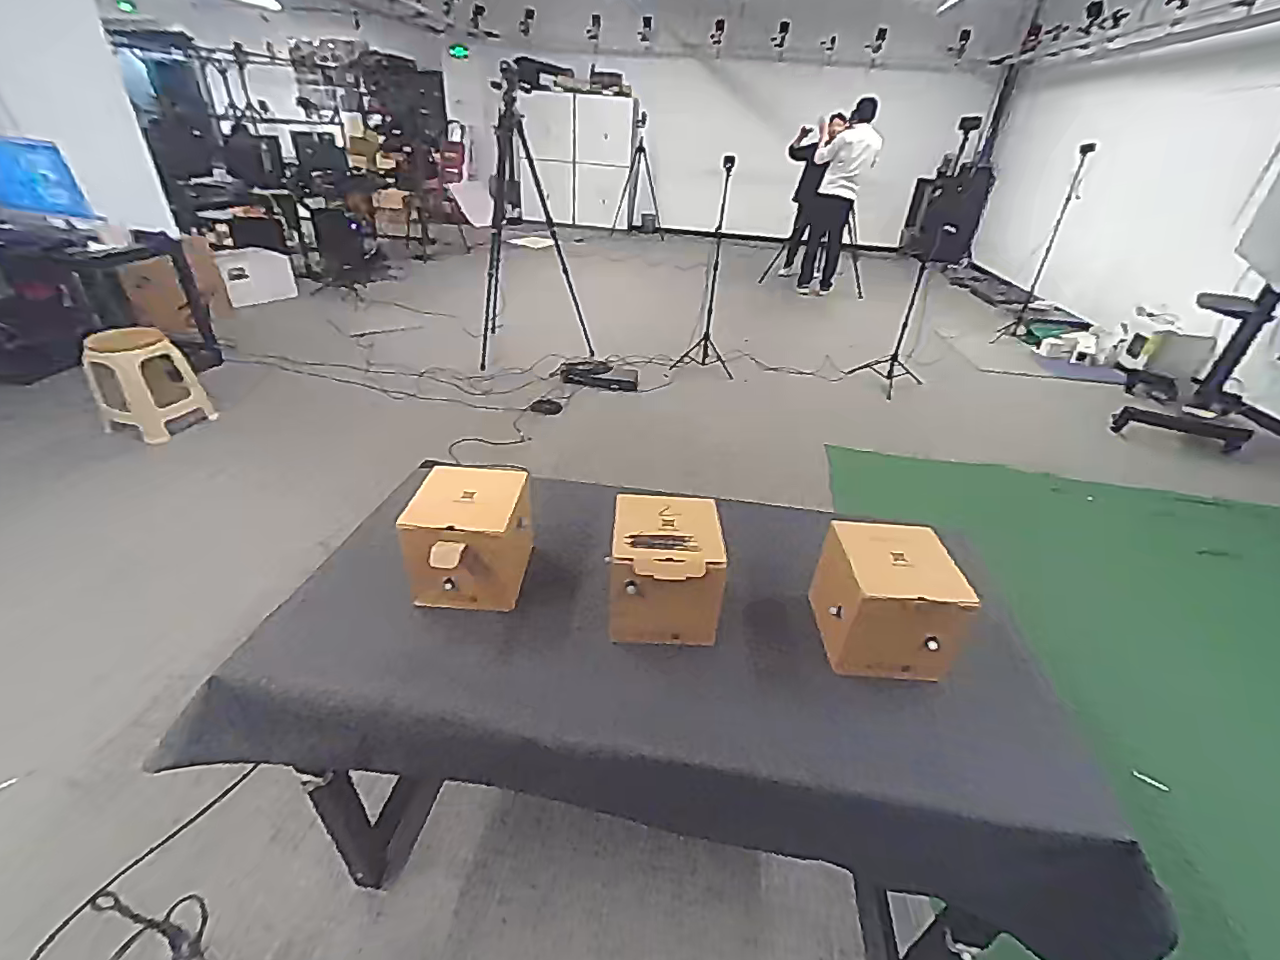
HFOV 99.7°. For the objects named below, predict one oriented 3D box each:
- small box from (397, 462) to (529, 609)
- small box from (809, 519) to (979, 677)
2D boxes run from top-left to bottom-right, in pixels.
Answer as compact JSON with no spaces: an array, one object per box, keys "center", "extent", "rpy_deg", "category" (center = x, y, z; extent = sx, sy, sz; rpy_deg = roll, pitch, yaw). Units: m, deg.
[{"center":[-0.285,0.091,0.912],"extent":[0.168,0.176,0.179],"rpy_deg":[4,33,-1],"category":"small box"},{"center":[0.379,0.183,0.844],"extent":[0.168,0.176,0.179],"rpy_deg":[5,31,-1],"category":"small box"}]
